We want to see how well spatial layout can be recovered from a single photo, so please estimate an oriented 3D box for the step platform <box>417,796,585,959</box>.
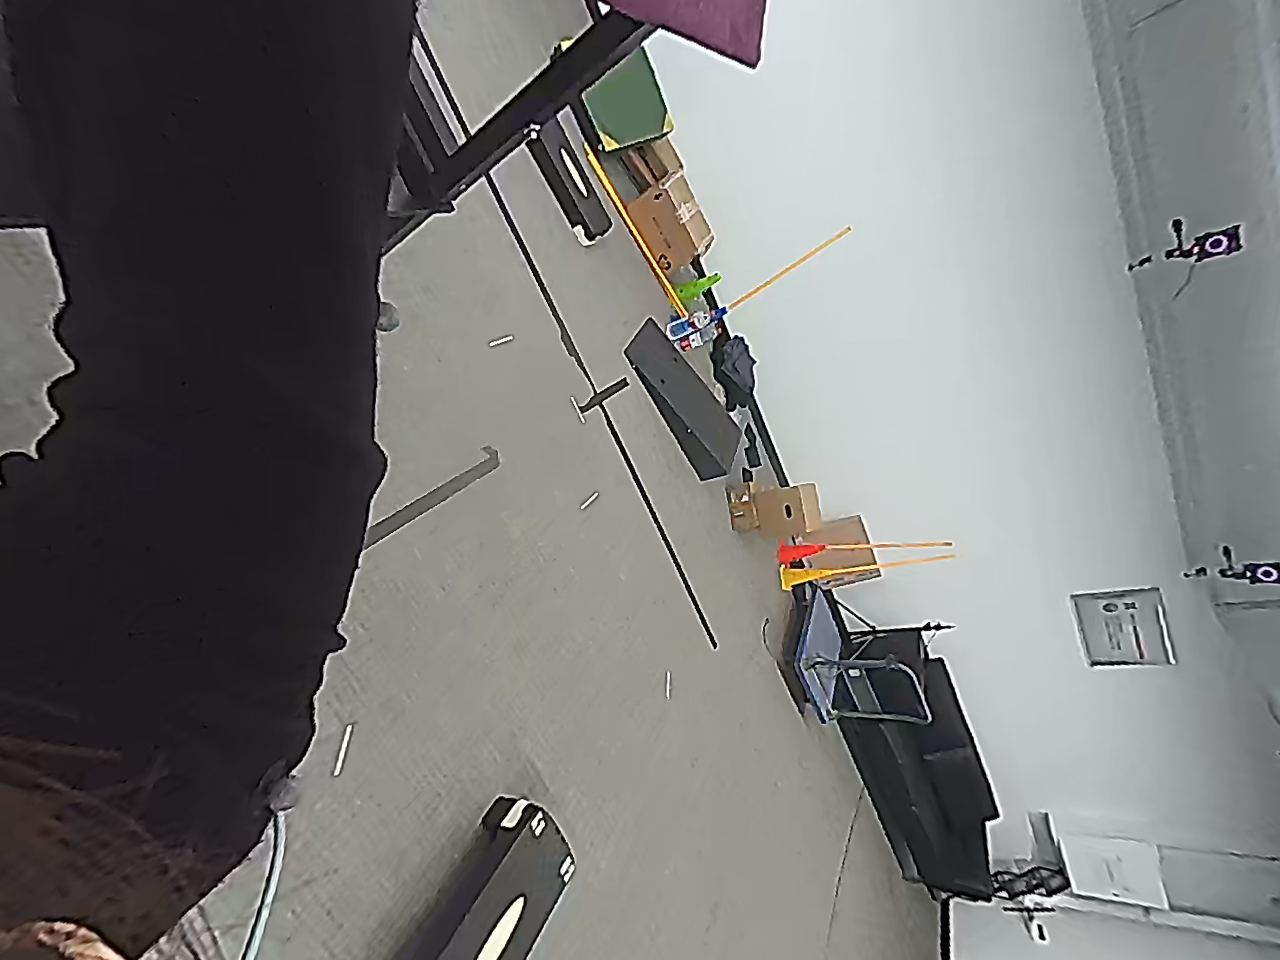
[{"bbox_3d":[-0.435,1.258,1.519,0.684,0.204,0.286,-36,107,-56],"label":"step platform"}]
